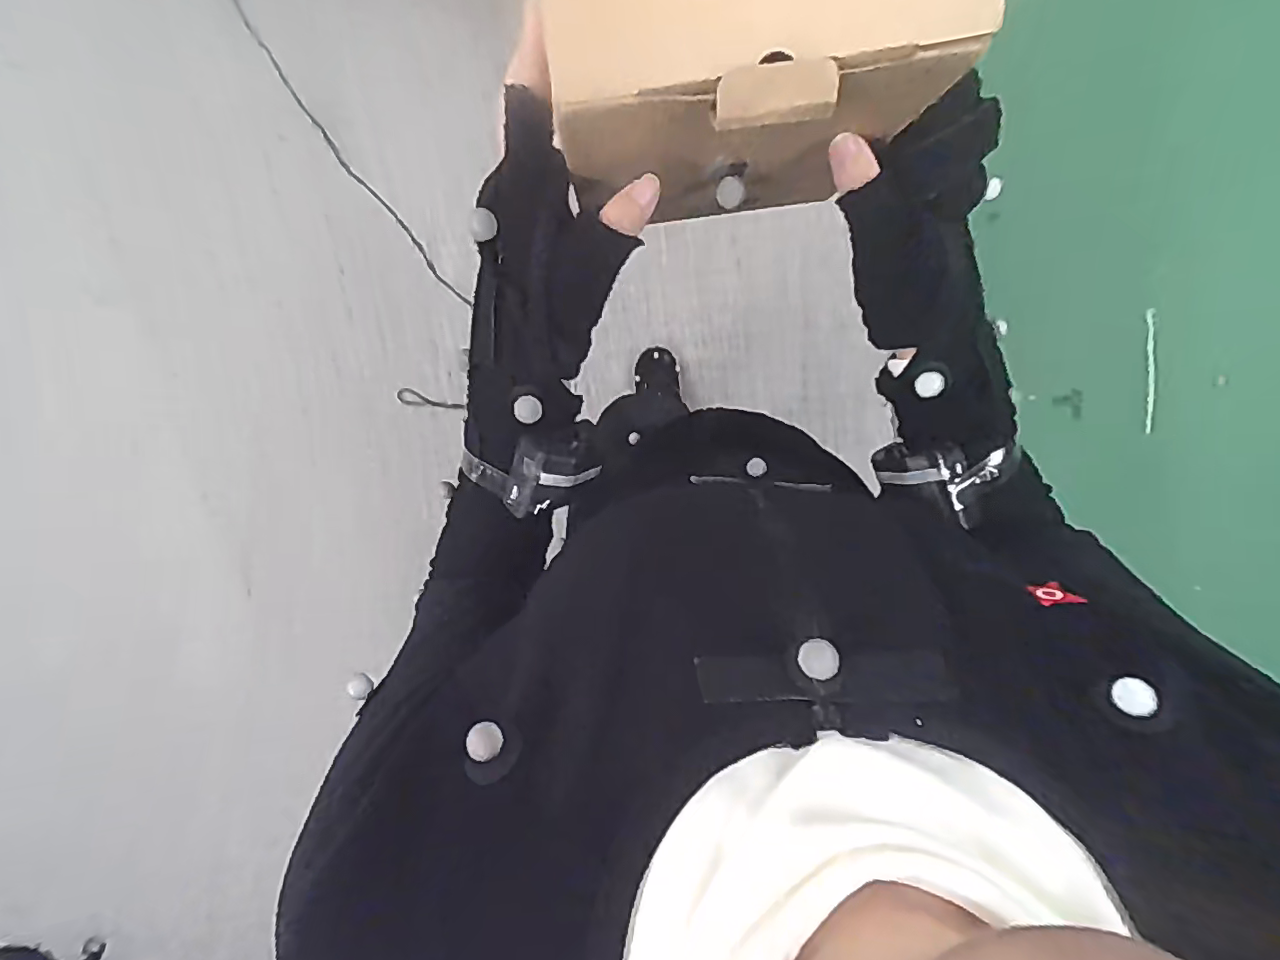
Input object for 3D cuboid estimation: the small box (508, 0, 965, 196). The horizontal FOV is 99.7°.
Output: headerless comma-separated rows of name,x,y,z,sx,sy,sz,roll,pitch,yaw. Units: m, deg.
small box,0.027,-0.253,0.258,0.168,0.176,0.179,-6,101,0
